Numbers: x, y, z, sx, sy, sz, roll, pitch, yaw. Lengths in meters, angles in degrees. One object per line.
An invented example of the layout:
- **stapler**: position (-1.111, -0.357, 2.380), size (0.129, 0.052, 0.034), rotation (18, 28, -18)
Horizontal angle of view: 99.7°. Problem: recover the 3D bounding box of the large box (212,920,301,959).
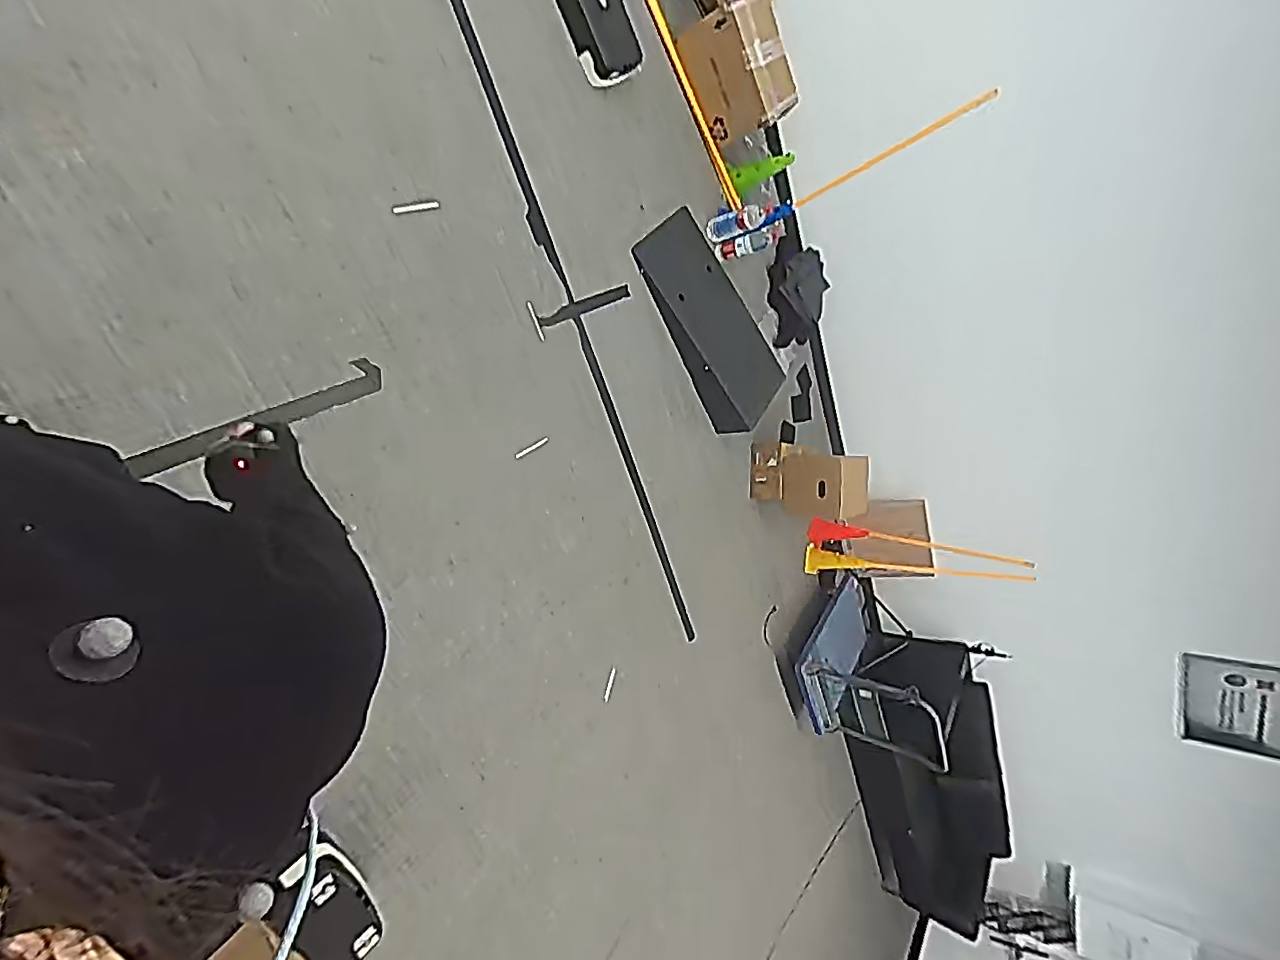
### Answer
- **large box**: position (-0.753, 1.140, 0.957), size (0.408, 0.320, 0.320), rotation (-42, 121, -41)
